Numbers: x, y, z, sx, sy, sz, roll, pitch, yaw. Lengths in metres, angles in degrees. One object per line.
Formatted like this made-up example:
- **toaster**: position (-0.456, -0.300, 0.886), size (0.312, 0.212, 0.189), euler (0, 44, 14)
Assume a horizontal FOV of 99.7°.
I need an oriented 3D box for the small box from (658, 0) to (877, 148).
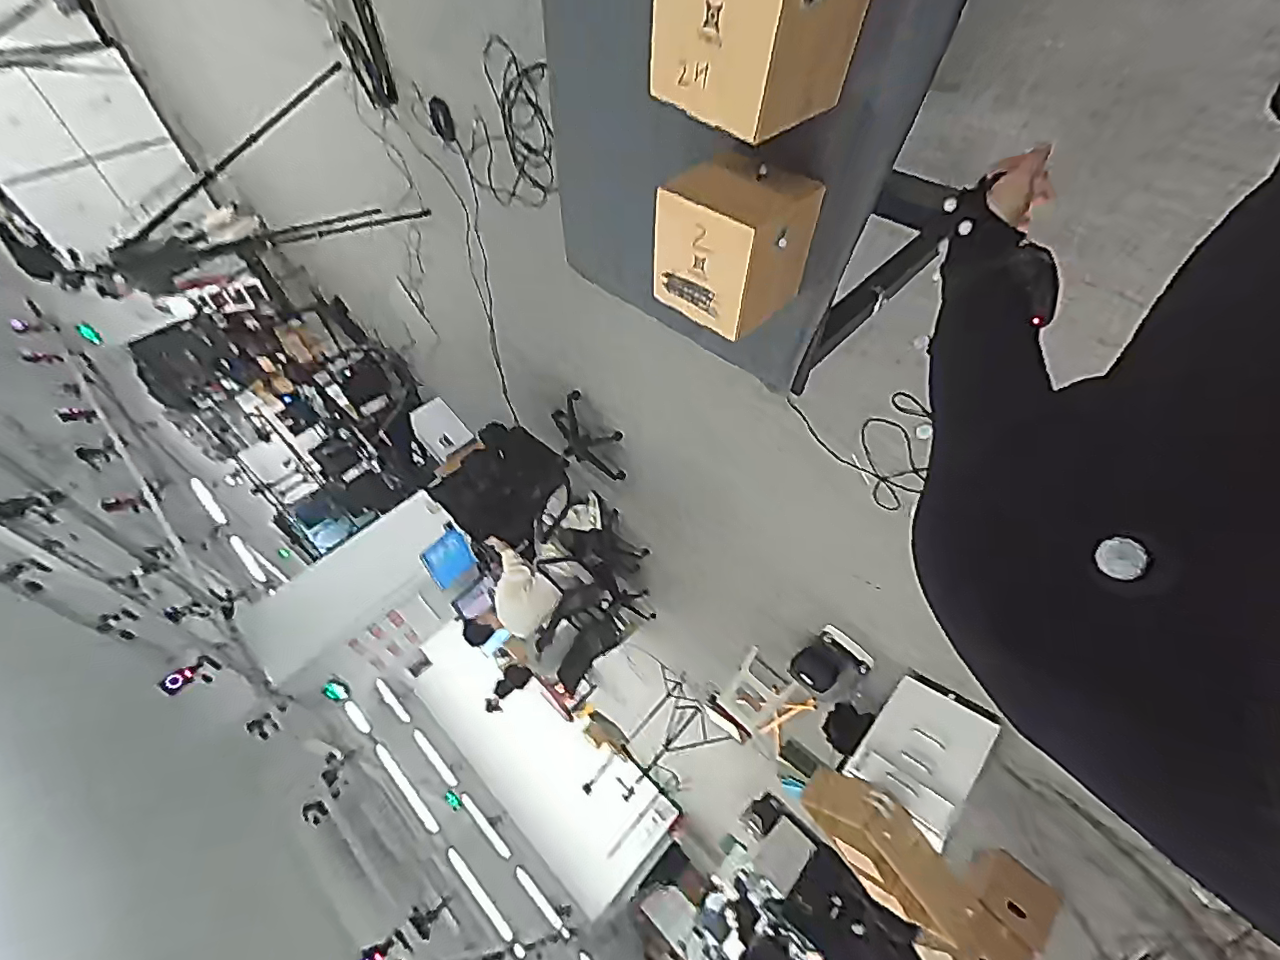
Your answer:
- **small box**: position (0.141, -0.513, 0.593), size (0.168, 0.176, 0.179), euler (42, 154, 21)
